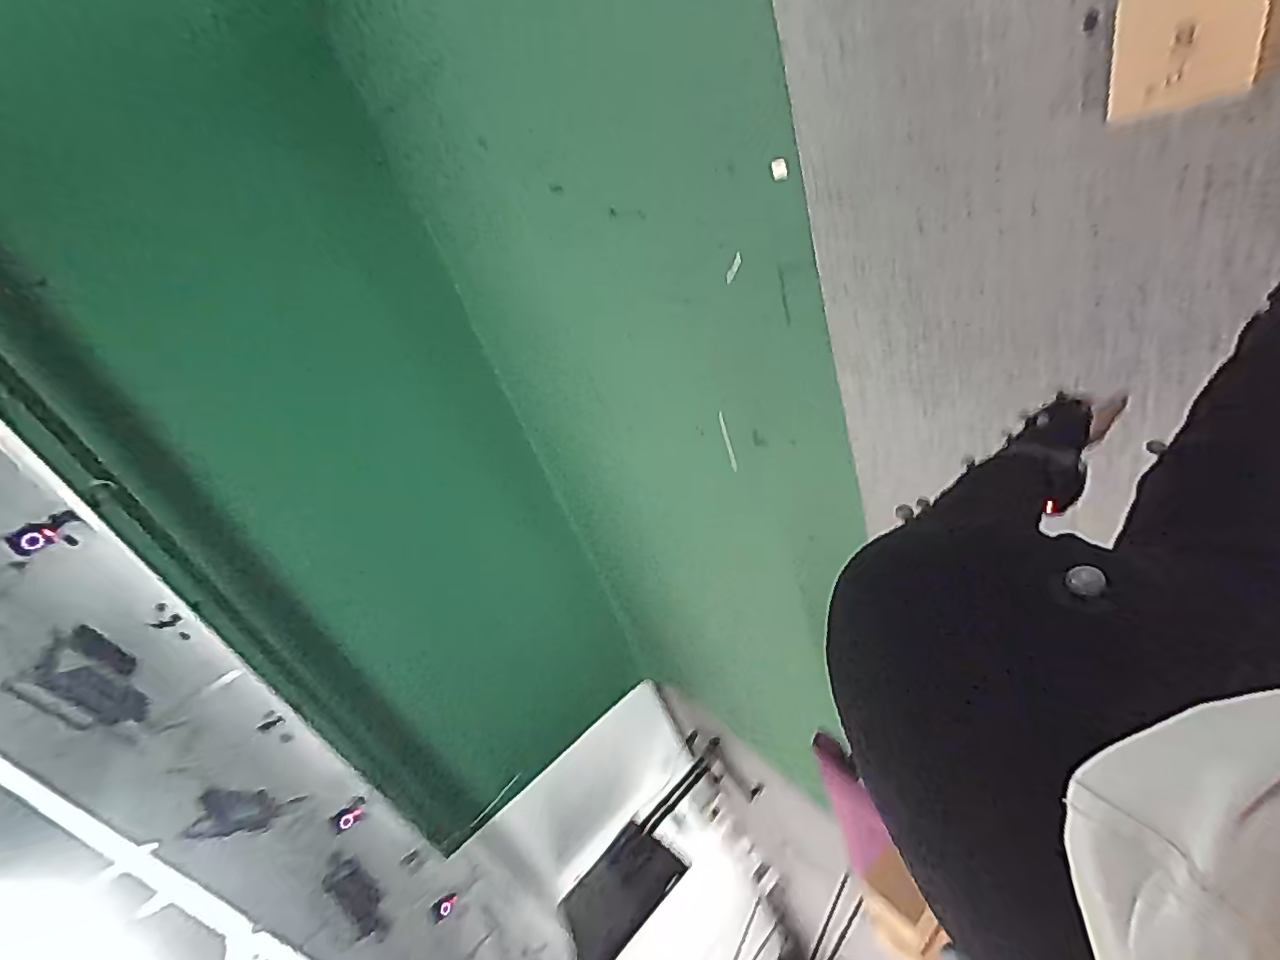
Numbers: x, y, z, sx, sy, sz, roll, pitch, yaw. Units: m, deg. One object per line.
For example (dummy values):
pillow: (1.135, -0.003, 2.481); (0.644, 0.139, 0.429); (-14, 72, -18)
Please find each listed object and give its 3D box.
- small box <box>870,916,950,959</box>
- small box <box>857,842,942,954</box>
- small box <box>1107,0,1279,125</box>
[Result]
small box: (0.871, 1.453, 1.738); (0.168, 0.176, 0.179); (19, 138, 53)
small box: (0.786, 1.246, 1.623); (0.179, 0.176, 0.168); (19, 139, 51)
small box: (0.848, -0.674, 0.816); (0.168, 0.176, 0.179); (22, 140, 51)
